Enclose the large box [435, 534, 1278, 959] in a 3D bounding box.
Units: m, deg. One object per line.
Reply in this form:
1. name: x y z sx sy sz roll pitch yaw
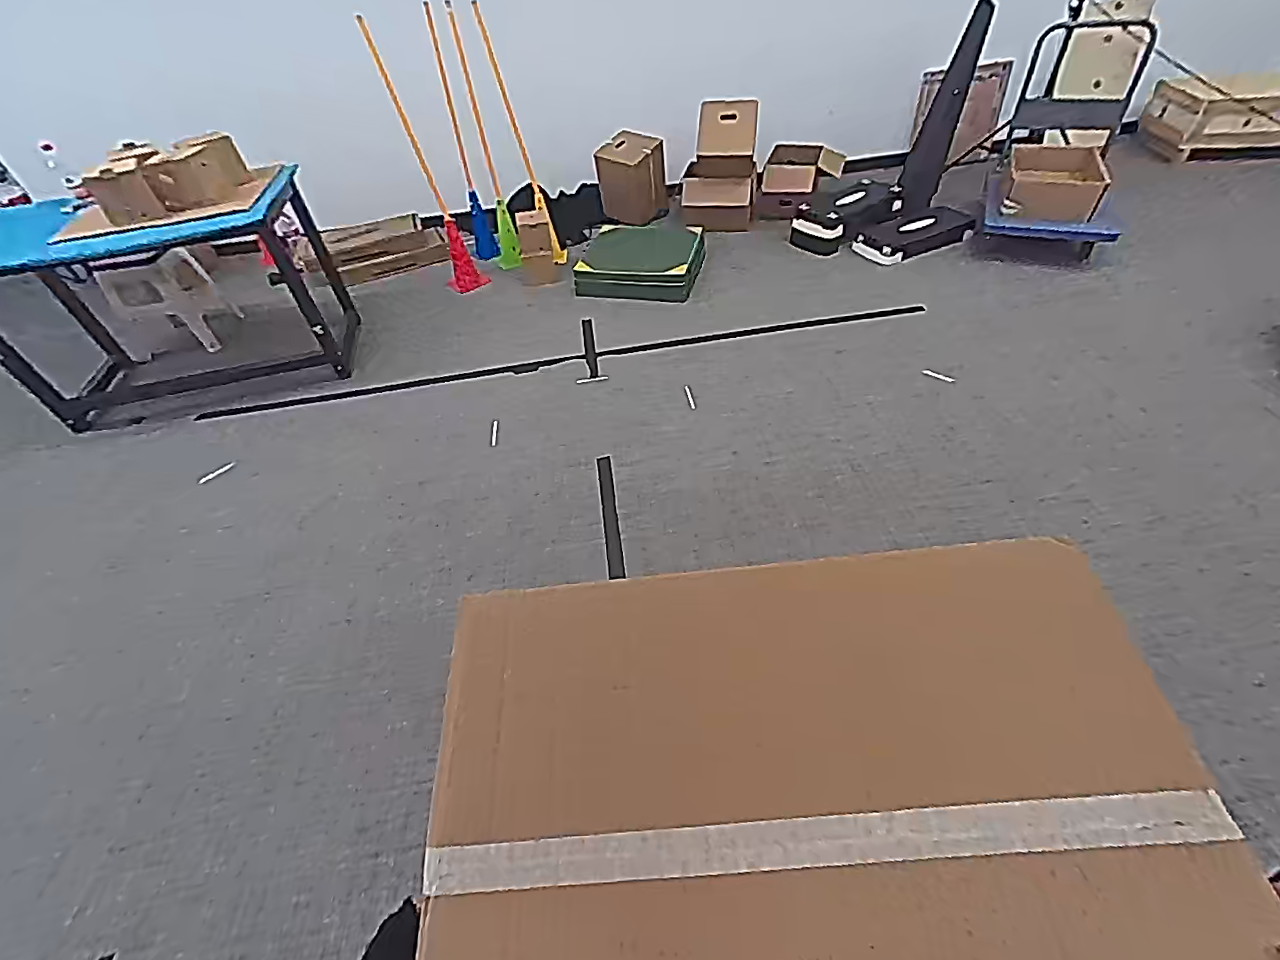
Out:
1. large box: 0.104 0.270 0.416 0.408 0.320 0.320 -7 57 4
